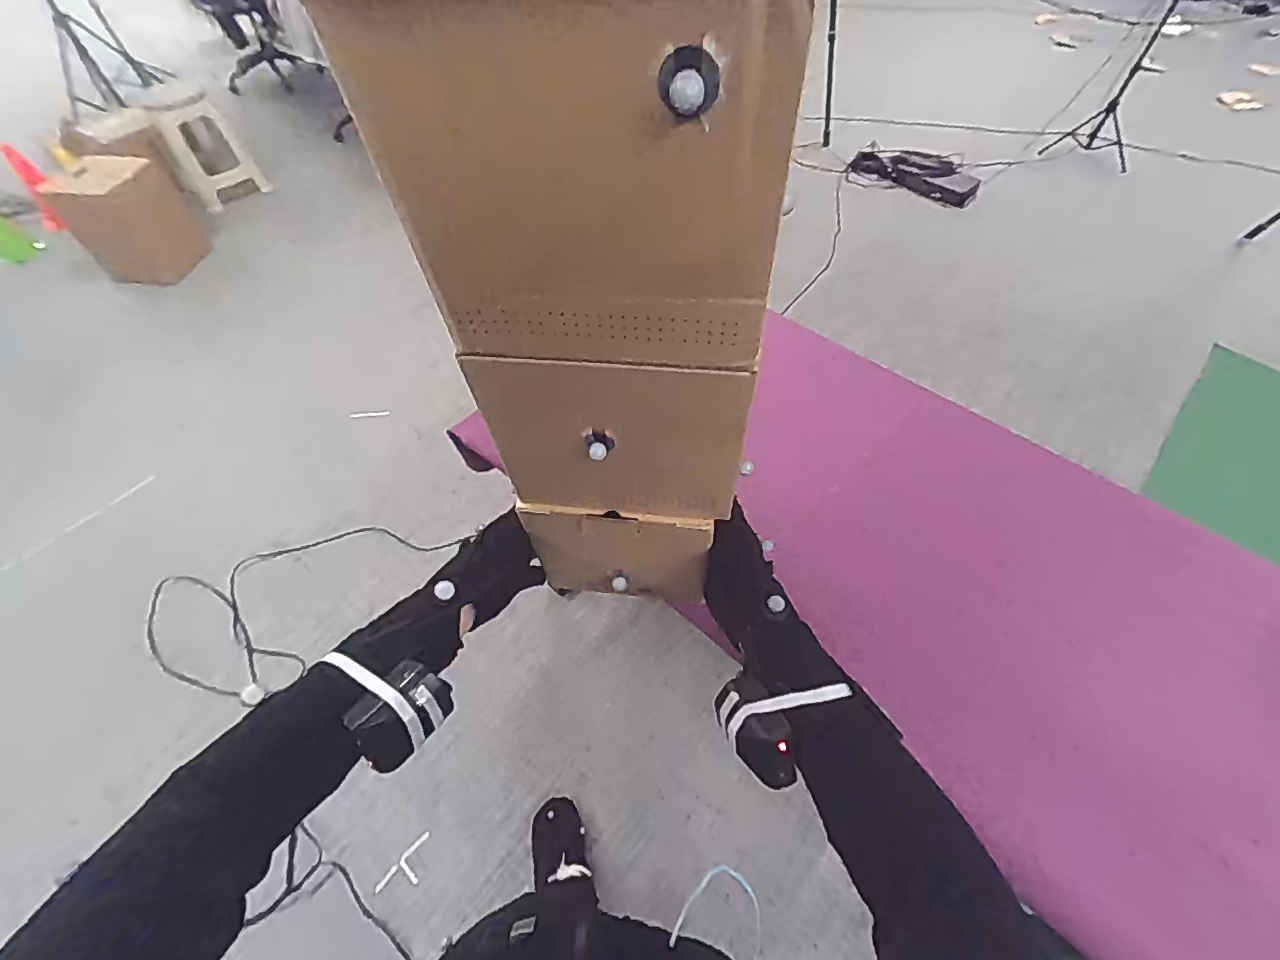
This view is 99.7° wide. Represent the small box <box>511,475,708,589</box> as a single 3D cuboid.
[{"bbox_3d":[-0.013,-0.008,0.555,0.168,0.176,0.179,5,58,7],"label":"small box"}]

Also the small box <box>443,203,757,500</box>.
[{"bbox_3d":[-0.015,-0.101,0.415,0.179,0.176,0.168,8,56,7],"label":"small box"}]

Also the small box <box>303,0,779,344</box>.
[{"bbox_3d":[-0.026,-0.189,0.282,0.179,0.176,0.168,5,57,6],"label":"small box"}]
